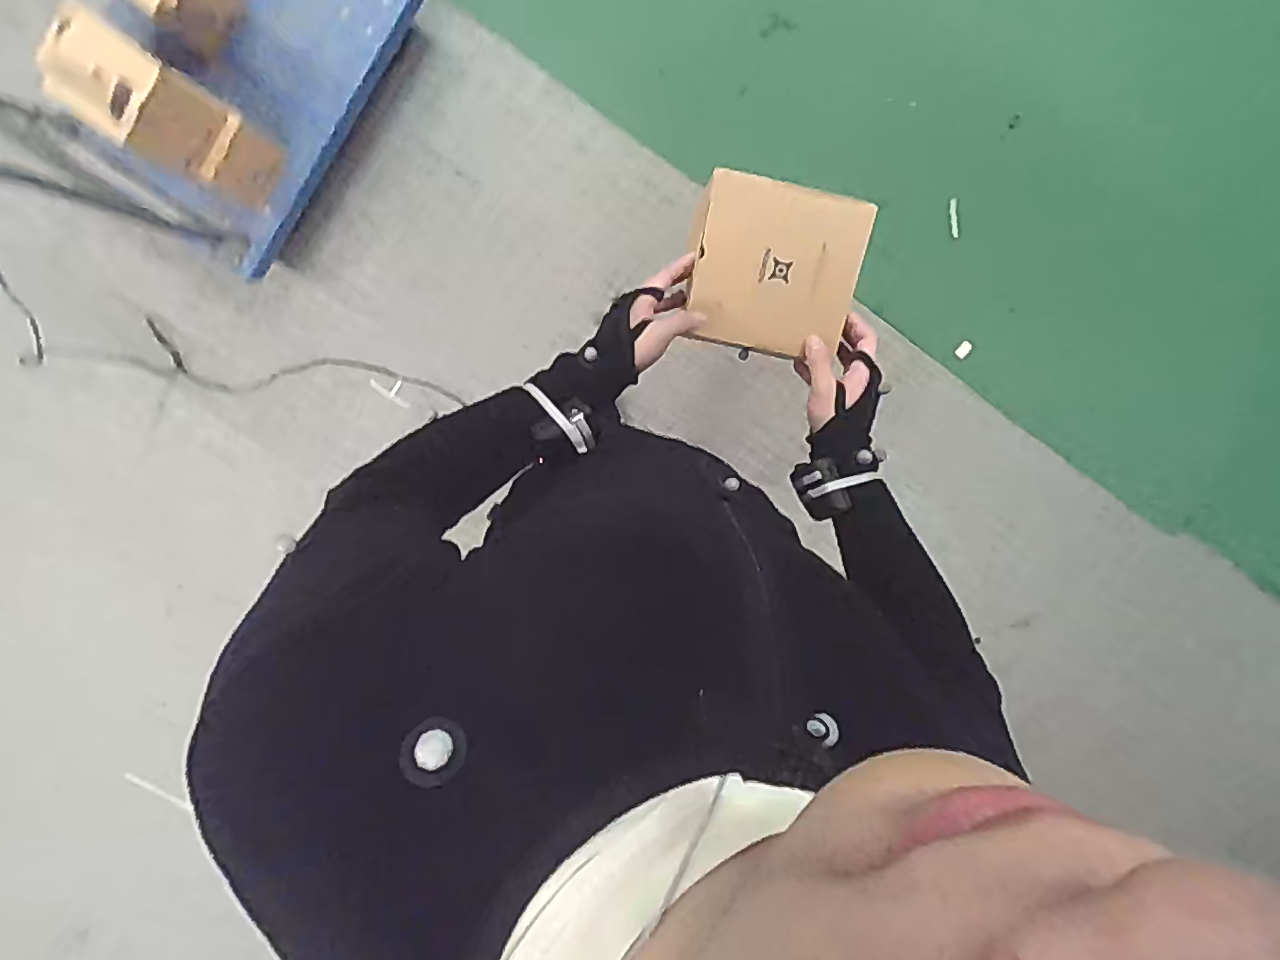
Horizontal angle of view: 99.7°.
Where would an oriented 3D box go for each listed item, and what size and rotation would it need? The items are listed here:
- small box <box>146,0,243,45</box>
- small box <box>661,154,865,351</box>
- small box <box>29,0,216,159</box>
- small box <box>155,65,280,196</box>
[{"bbox_3d":[-1.038,-1.122,1.185,0.179,0.176,0.168,38,96,-6],"label":"small box"},{"bbox_3d":[0.126,-0.250,0.638,0.179,0.176,0.168,11,103,-5],"label":"small box"},{"bbox_3d":[-1.003,-0.776,1.068,0.179,0.176,0.168,35,95,-5],"label":"small box"},{"bbox_3d":[-0.988,-0.787,1.241,0.179,0.176,0.168,-24,99,3],"label":"small box"}]
